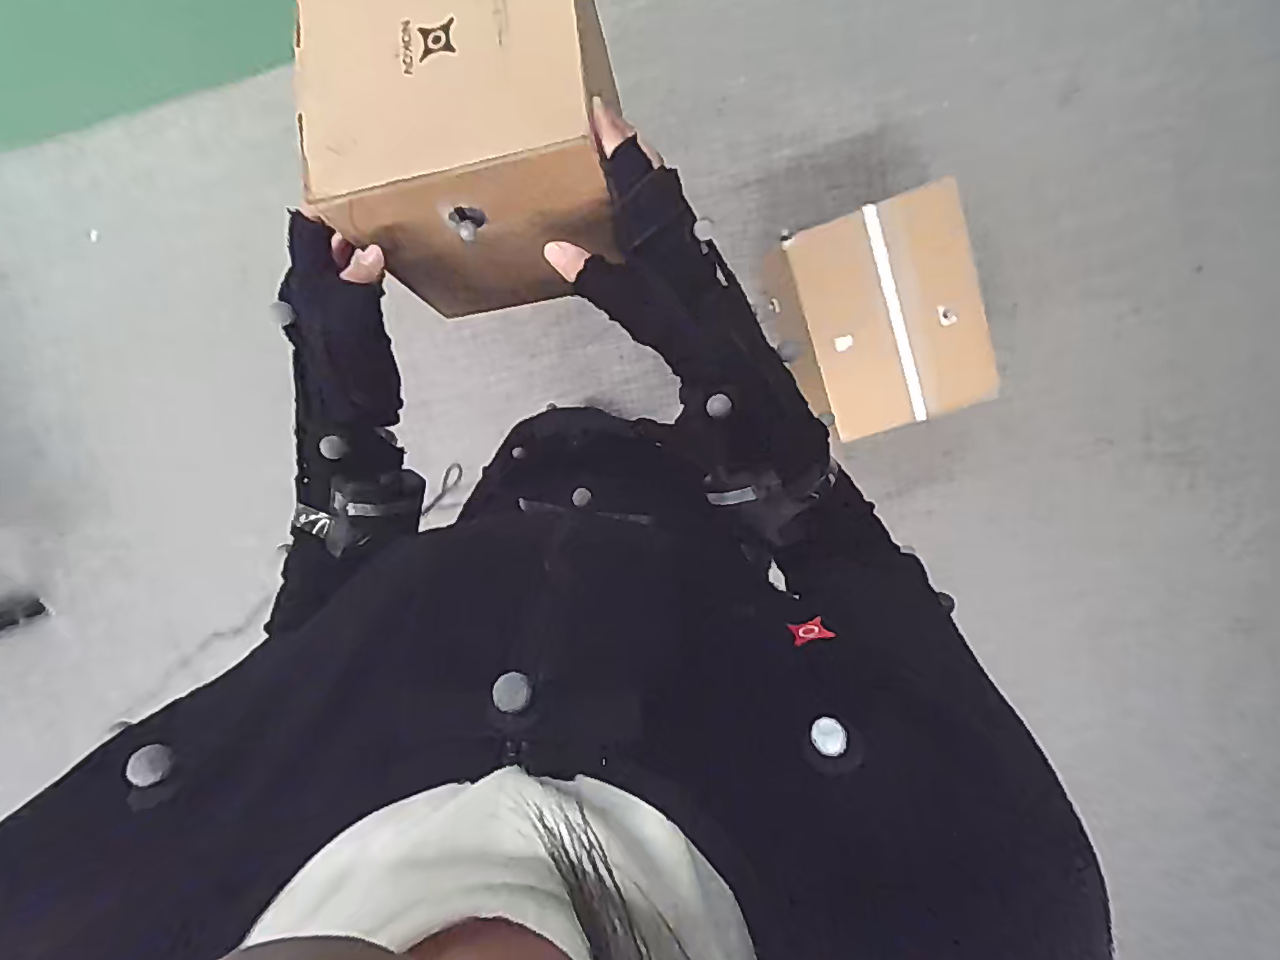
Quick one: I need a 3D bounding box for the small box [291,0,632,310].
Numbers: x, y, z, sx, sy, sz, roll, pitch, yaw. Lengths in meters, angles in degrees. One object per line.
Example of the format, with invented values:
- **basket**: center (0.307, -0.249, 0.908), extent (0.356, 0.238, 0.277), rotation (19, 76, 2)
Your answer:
- **small box**: center (-0.114, -0.245, 0.398), extent (0.179, 0.176, 0.168), rotation (-9, 82, 8)
